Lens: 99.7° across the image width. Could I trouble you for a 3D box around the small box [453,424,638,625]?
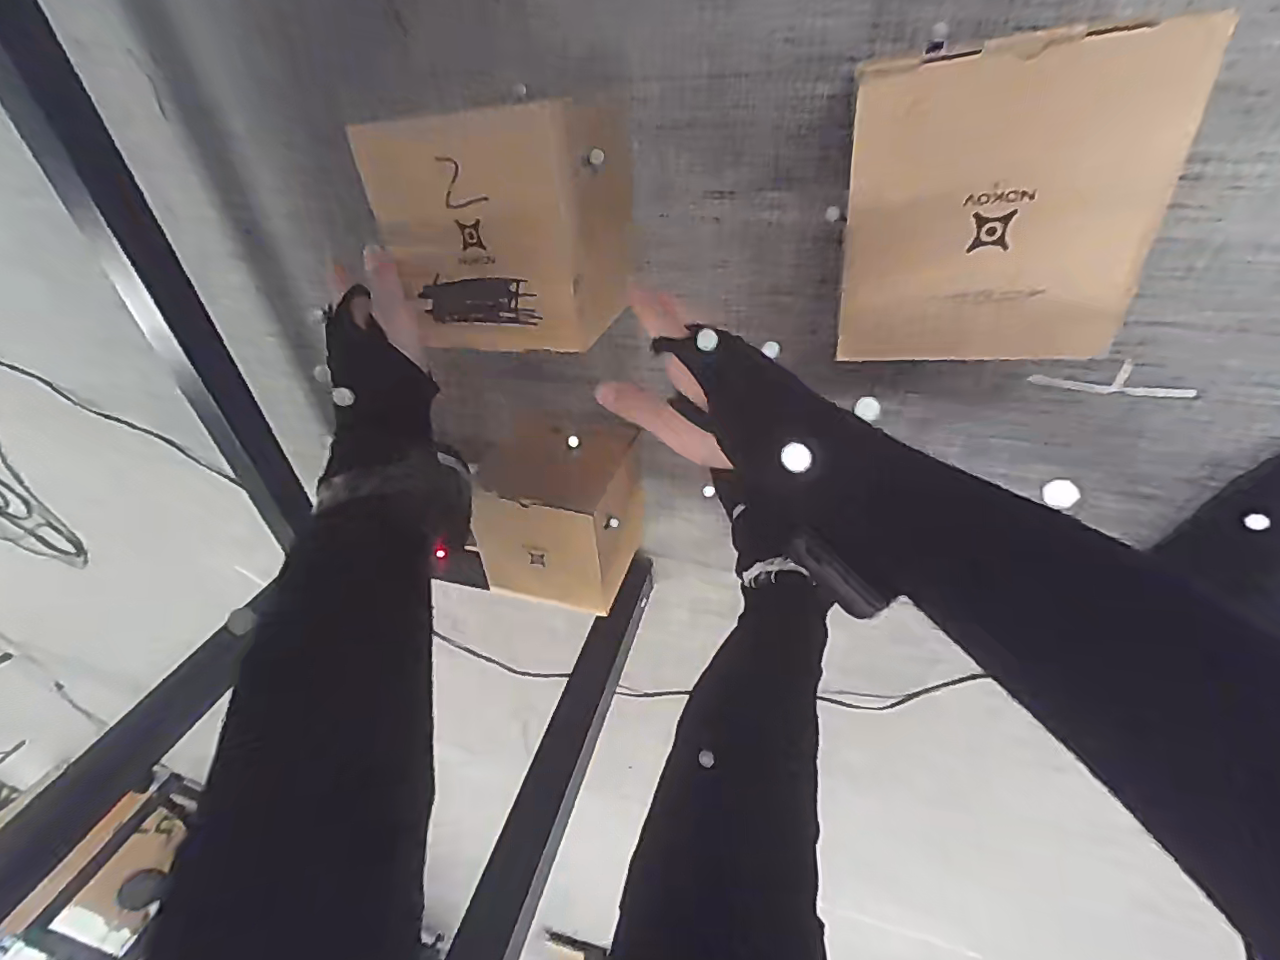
[{"bbox_3d":[-0.104,0.051,0.695,0.168,0.176,0.179,8,128,16],"label":"small box"}]
